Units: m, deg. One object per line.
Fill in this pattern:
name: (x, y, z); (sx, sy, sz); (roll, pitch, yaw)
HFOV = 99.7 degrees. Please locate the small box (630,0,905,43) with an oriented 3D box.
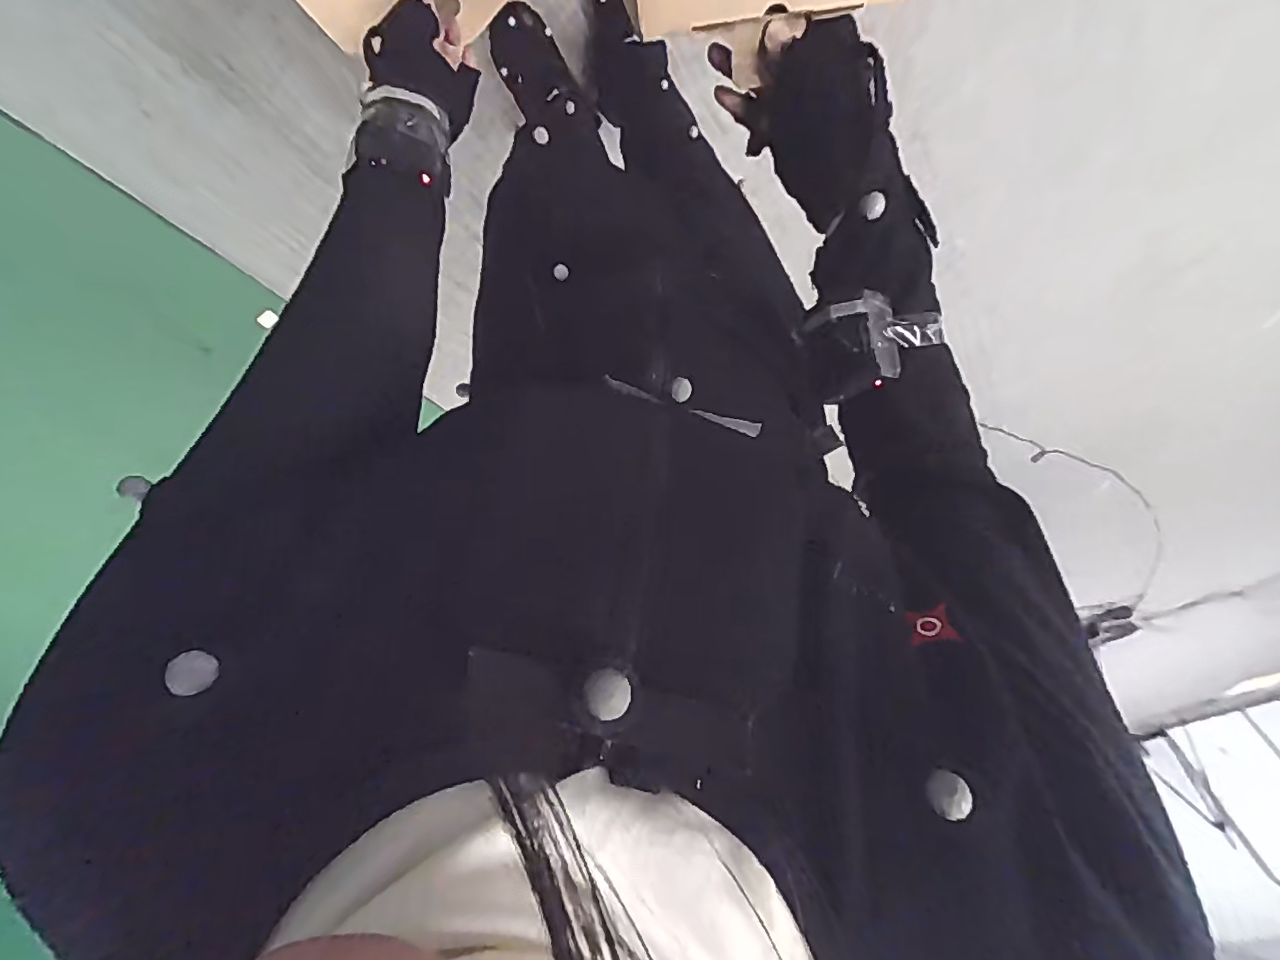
small box: (0.067, -0.393, 0.315); (0.168, 0.176, 0.179); (-8, 140, 0)
